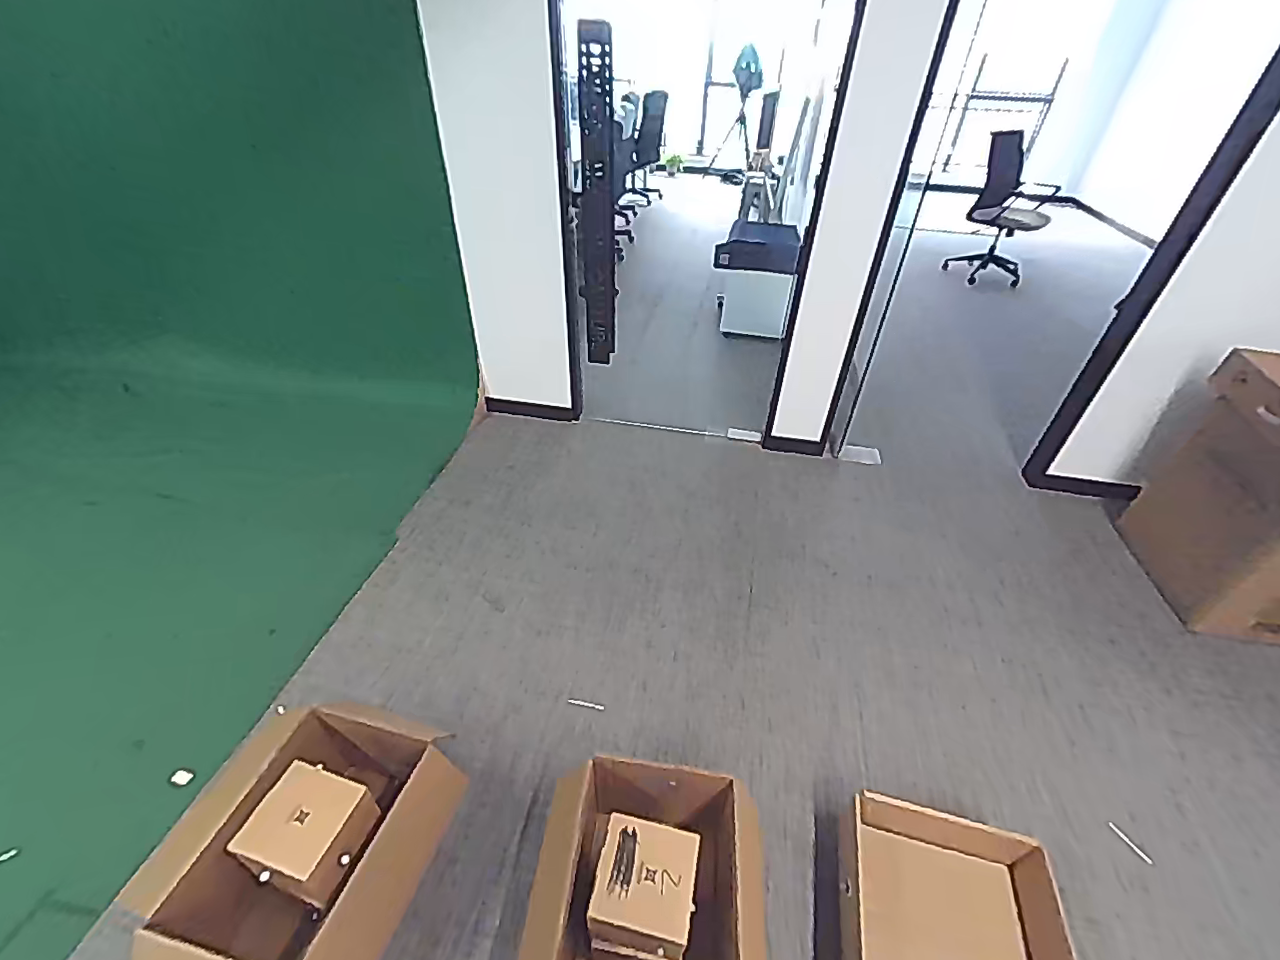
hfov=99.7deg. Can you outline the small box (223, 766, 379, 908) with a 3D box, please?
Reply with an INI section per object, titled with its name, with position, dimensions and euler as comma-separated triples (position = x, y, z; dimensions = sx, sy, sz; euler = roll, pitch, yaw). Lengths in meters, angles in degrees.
[small box]
position = -0.651, 0.705, 1.066
dimensions = 0.179, 0.176, 0.168
euler = 13, 39, 11
